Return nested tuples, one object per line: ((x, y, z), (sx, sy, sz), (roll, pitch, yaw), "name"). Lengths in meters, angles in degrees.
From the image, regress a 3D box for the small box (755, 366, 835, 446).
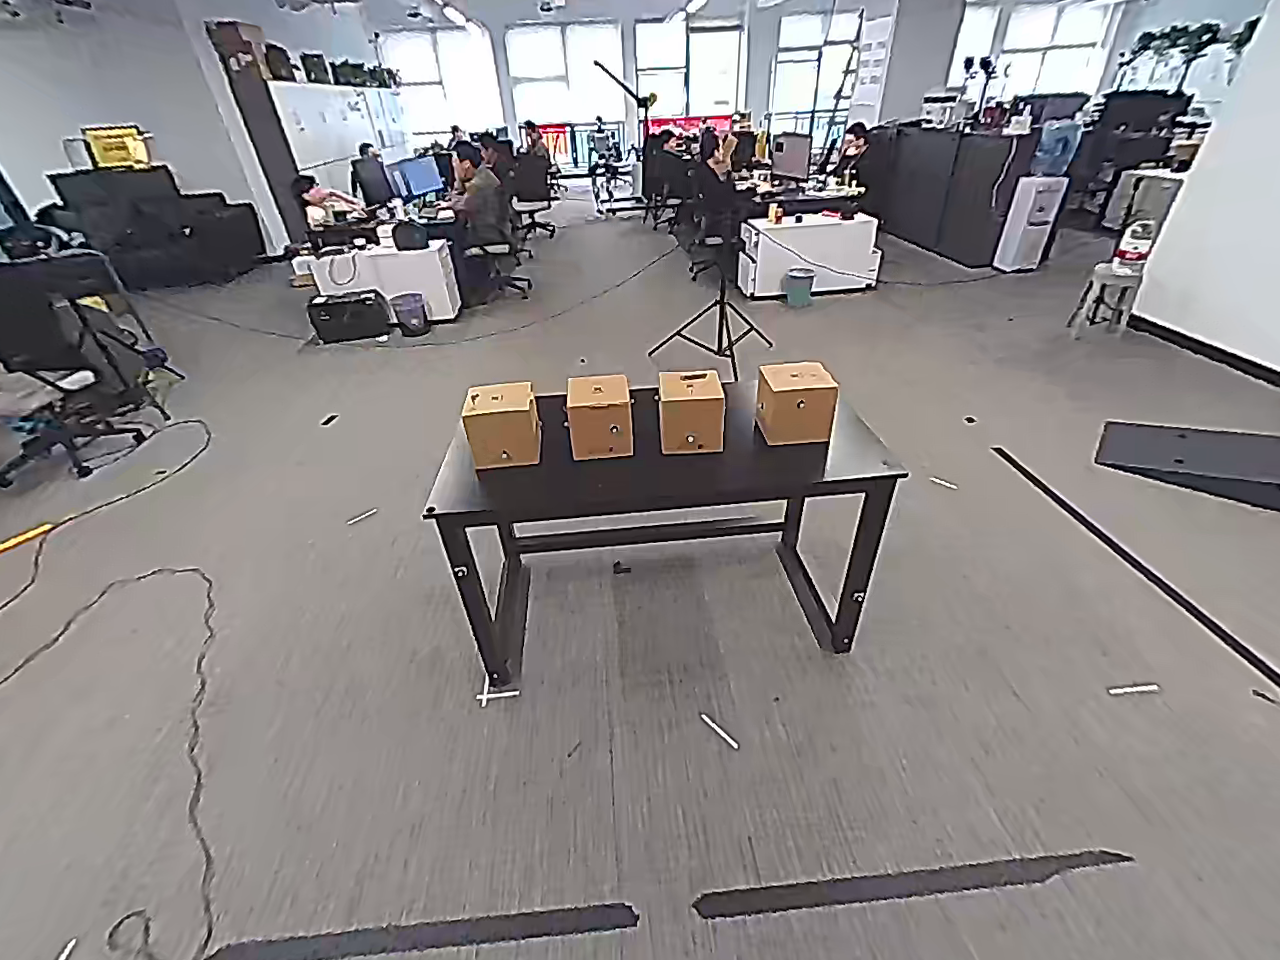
((0.426, -0.206, 1.519), (0.179, 0.176, 0.168), (-4, 35, -1), "small box")

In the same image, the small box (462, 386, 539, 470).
((-0.374, -0.143, 1.483), (0.179, 0.176, 0.168), (-5, 35, -5), "small box")

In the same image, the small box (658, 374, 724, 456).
((0.135, -0.182, 1.506), (0.168, 0.176, 0.179), (-3, 36, 0), "small box")

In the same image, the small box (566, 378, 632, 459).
((-0.114, -0.168, 1.506), (0.168, 0.176, 0.179), (-5, 34, -4), "small box")
